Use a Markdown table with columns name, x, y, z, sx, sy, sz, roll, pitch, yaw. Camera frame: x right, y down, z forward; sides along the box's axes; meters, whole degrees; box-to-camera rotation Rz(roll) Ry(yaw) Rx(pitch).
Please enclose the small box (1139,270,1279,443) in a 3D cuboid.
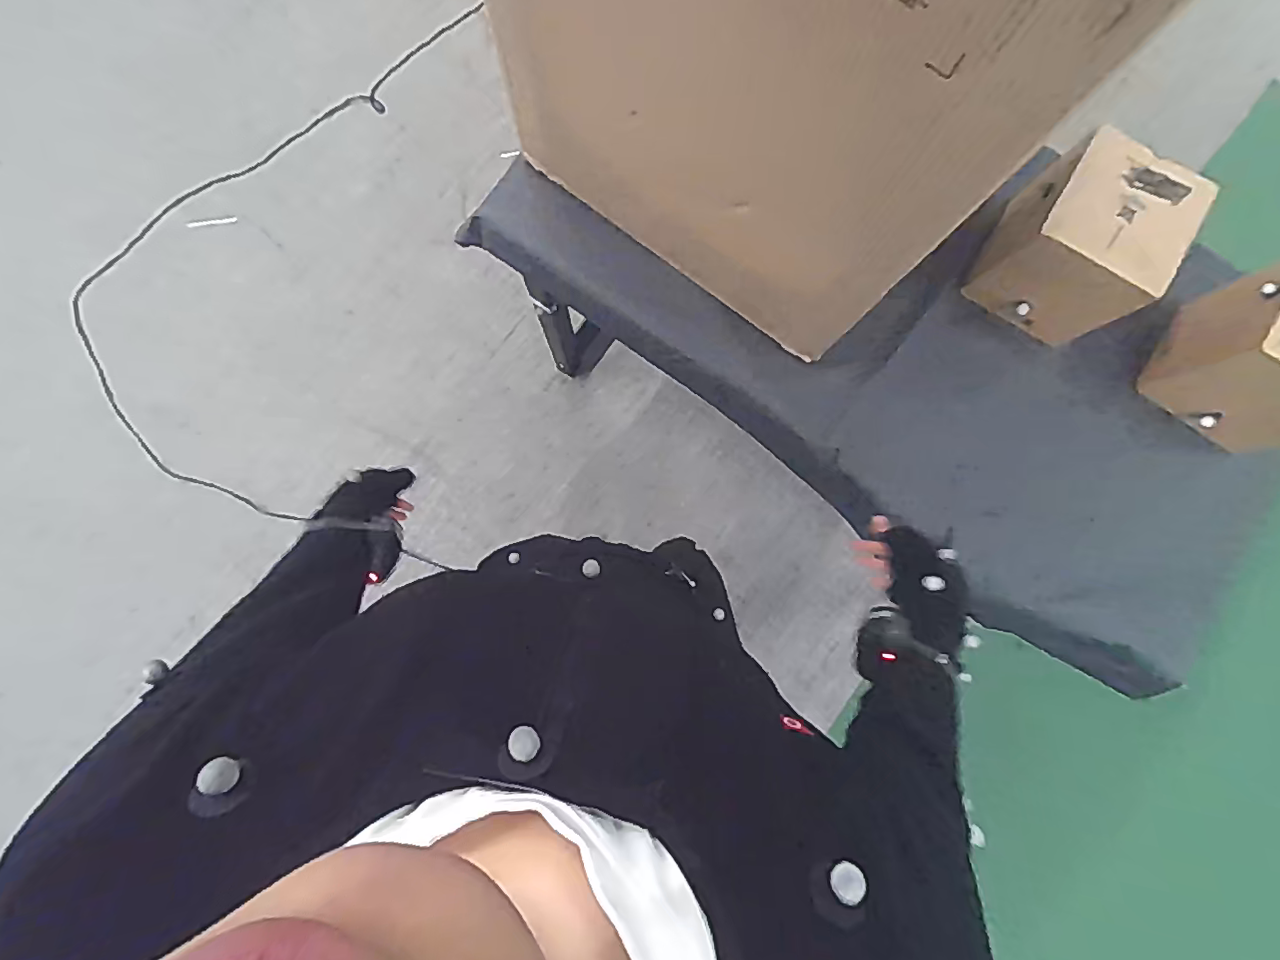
| name | x | y | z | sx | sy | sz | roll | pitch | yaw |
| --- | --- | --- | --- | --- | --- | --- | --- | --- | --- |
| small box | 0.856 | -0.165 | 0.730 | 0.179 | 0.176 | 0.168 | 36 | 83 | 3 |
